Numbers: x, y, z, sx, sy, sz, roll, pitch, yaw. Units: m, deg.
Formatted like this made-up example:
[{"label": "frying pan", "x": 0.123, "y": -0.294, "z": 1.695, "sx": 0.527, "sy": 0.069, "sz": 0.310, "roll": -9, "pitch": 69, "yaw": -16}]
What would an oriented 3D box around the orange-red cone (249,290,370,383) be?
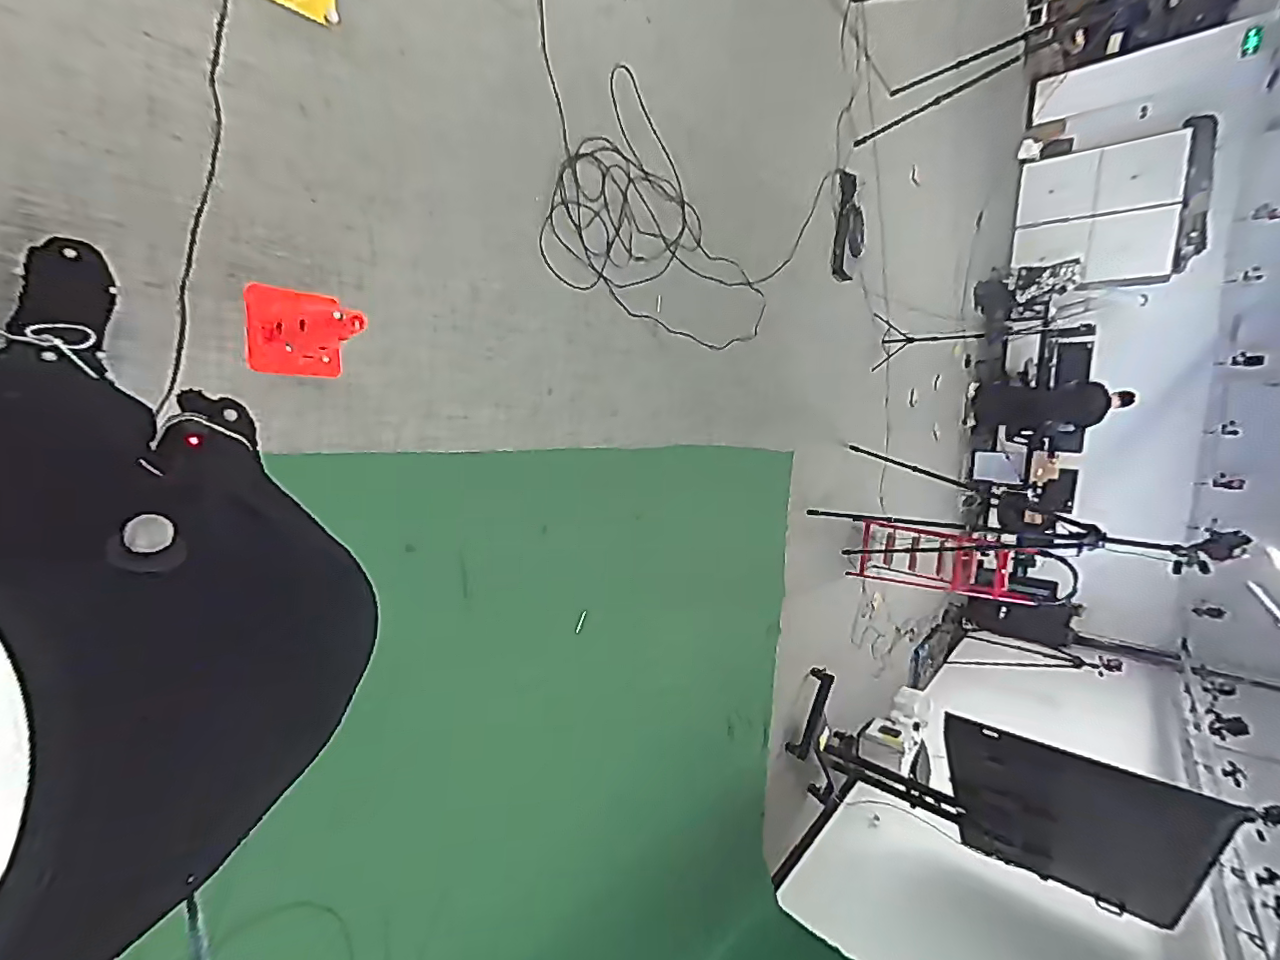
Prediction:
[{"label": "orange-red cone", "x": -0.692, "y": -0.325, "z": 1.189, "sx": 0.198, "sy": 0.360, "sz": 0.199, "roll": -4, "pitch": 98, "yaw": -49}]
